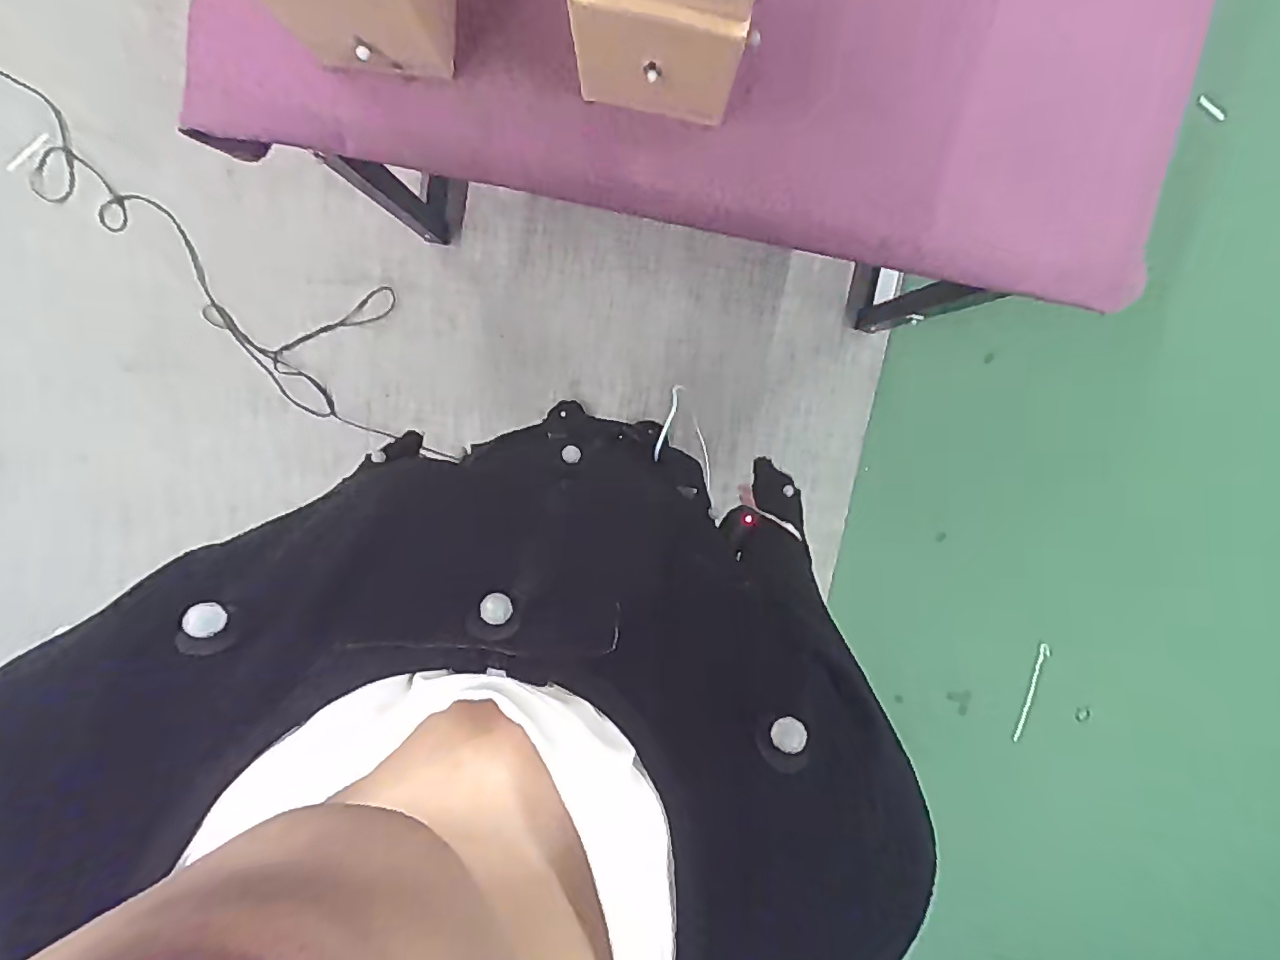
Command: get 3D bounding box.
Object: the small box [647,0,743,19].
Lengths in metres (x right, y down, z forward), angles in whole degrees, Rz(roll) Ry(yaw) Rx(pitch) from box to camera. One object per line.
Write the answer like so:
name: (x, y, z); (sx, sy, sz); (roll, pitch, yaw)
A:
small box: (0.036, -0.518, 0.424); (0.179, 0.176, 0.168); (12, 97, -2)

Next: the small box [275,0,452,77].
small box: (-0.303, -0.576, 0.568); (0.168, 0.176, 0.179); (6, 99, -3)
